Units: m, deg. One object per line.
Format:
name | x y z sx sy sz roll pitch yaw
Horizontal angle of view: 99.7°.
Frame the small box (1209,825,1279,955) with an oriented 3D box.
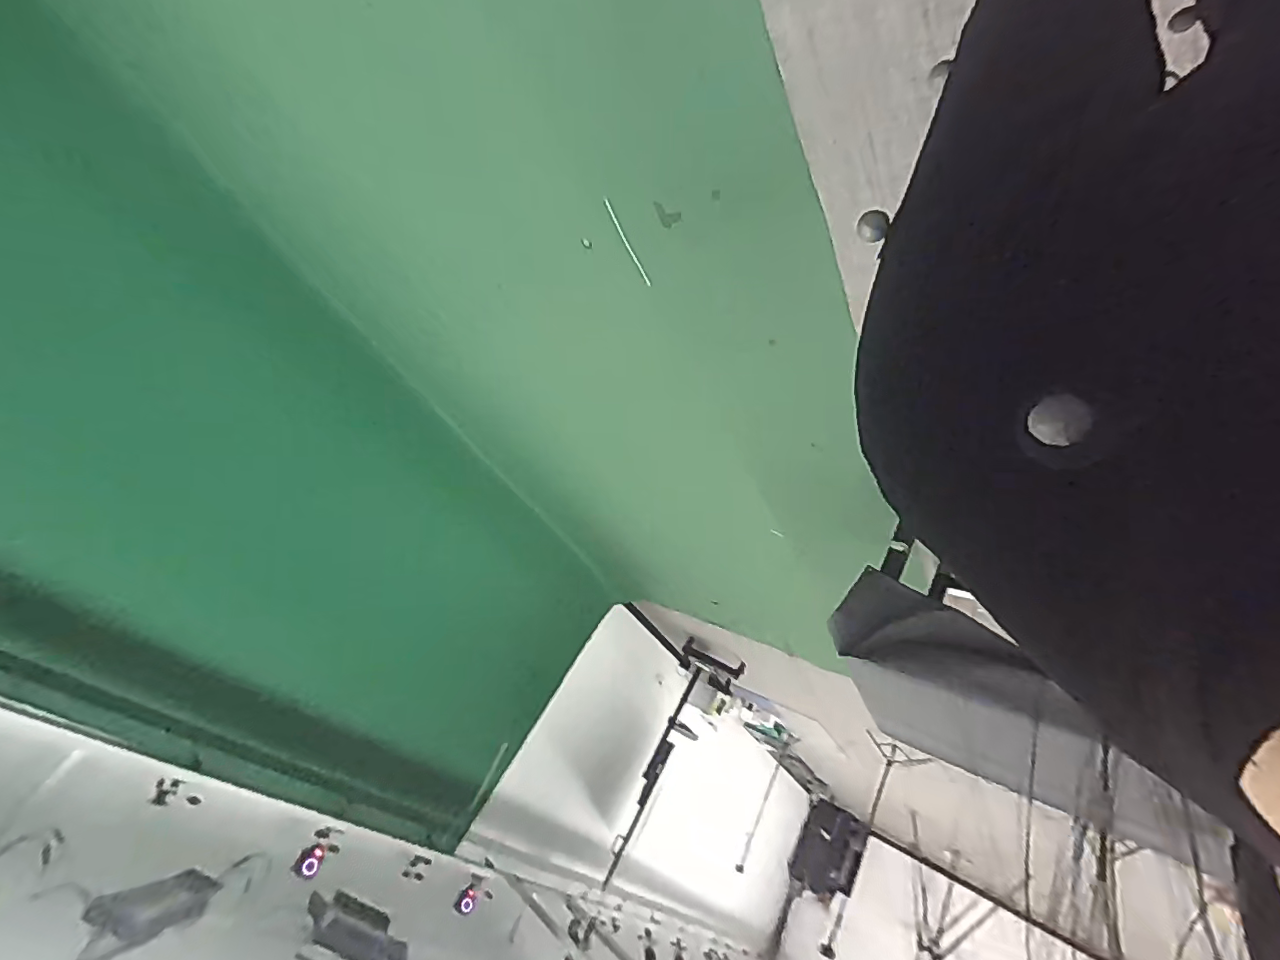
small box | 1.265 0.832 1.083 0.168 0.176 0.179 4 144 50
